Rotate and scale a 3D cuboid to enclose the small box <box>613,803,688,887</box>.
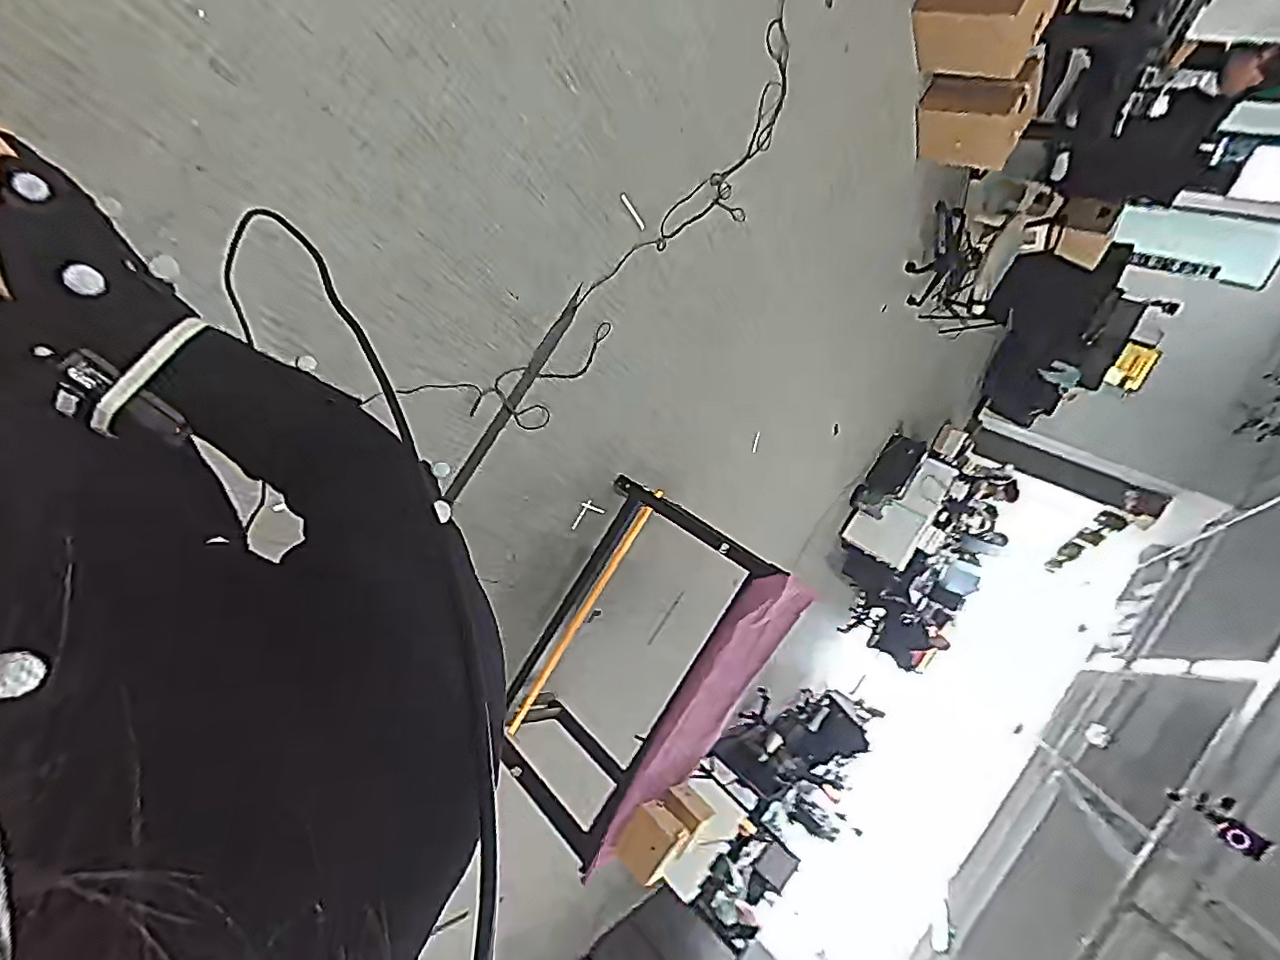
[{"bbox_3d":[0.036,1.278,1.914,0.179,0.176,0.168,-55,148,-5],"label":"small box"}]

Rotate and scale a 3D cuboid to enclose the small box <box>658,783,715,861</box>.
[{"bbox_3d":[0.156,1.329,2.111,0.179,0.176,0.168,-58,146,0],"label":"small box"}]
